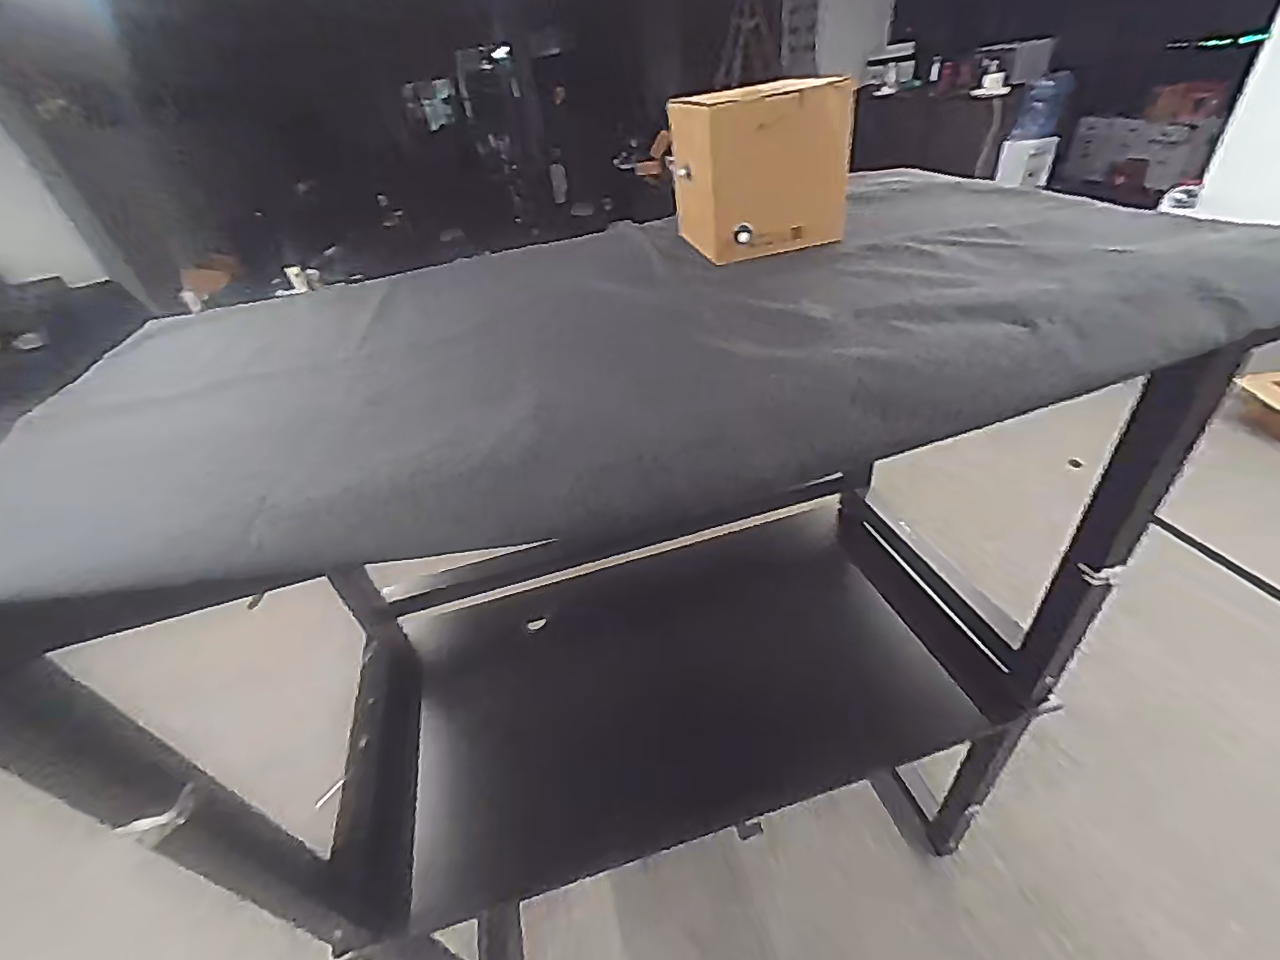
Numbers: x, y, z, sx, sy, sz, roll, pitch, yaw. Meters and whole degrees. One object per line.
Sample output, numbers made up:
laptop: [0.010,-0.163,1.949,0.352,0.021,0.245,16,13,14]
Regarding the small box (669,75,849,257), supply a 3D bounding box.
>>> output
small box: [0.144,-0.395,0.687,0.168,0.176,0.179,-13,37,-5]
